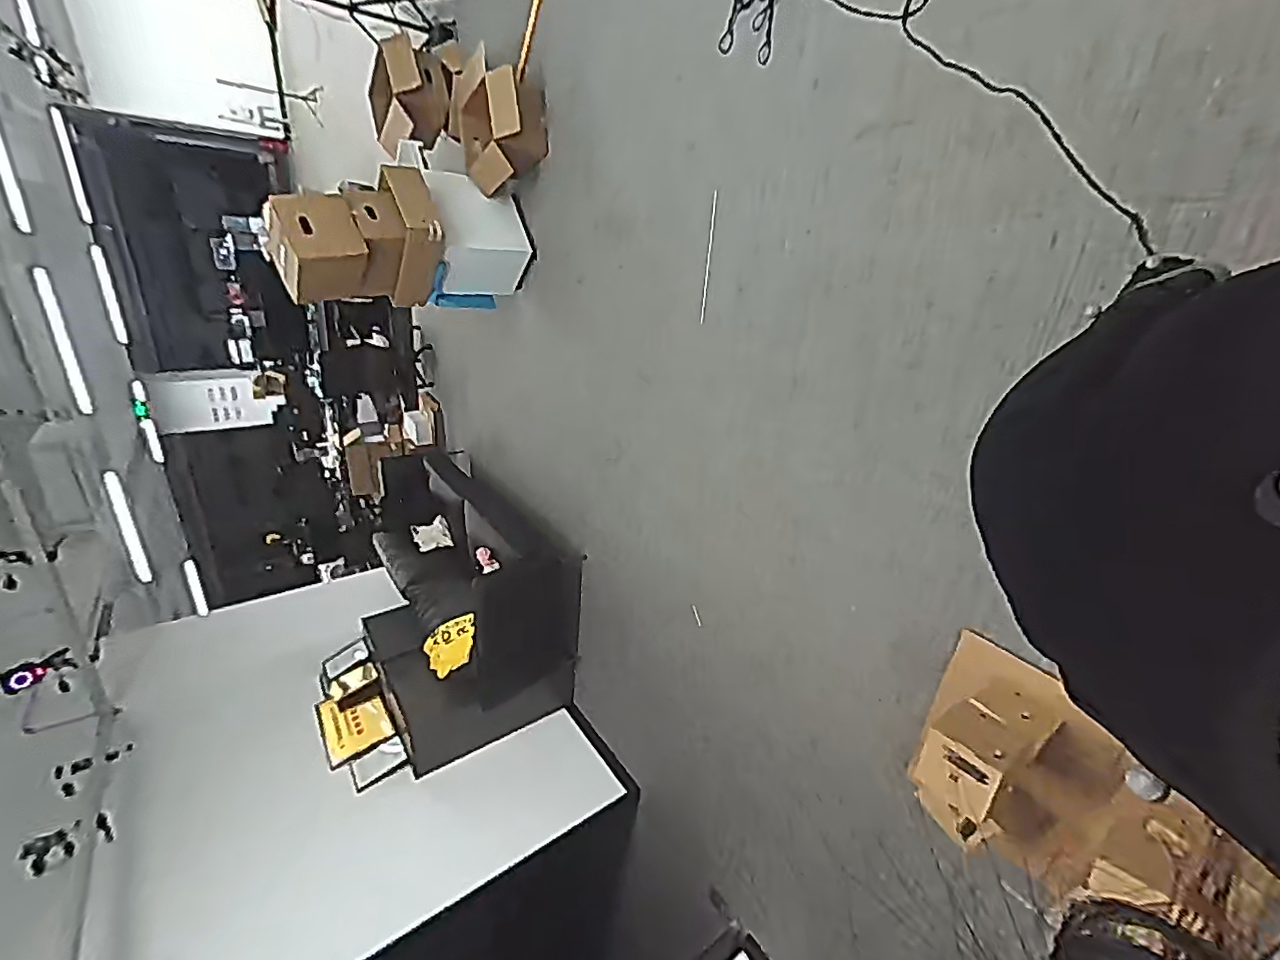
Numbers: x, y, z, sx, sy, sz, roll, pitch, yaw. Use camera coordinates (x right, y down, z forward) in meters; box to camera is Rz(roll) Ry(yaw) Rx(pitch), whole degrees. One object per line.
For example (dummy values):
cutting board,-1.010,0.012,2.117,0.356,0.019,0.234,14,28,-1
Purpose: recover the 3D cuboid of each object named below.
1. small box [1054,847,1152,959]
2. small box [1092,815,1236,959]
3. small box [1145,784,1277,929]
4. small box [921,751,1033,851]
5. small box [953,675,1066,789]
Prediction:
small box,1.145,1.031,1.282,0.179,0.176,0.168,39,131,42
small box,1.040,0.824,1.075,0.168,0.176,0.179,16,113,52
small box,1.185,0.793,1.148,0.168,0.176,0.179,39,131,44
small box,0.944,0.881,1.514,0.179,0.176,0.168,49,137,36
small box,0.967,0.647,1.411,0.168,0.176,0.179,37,130,44
